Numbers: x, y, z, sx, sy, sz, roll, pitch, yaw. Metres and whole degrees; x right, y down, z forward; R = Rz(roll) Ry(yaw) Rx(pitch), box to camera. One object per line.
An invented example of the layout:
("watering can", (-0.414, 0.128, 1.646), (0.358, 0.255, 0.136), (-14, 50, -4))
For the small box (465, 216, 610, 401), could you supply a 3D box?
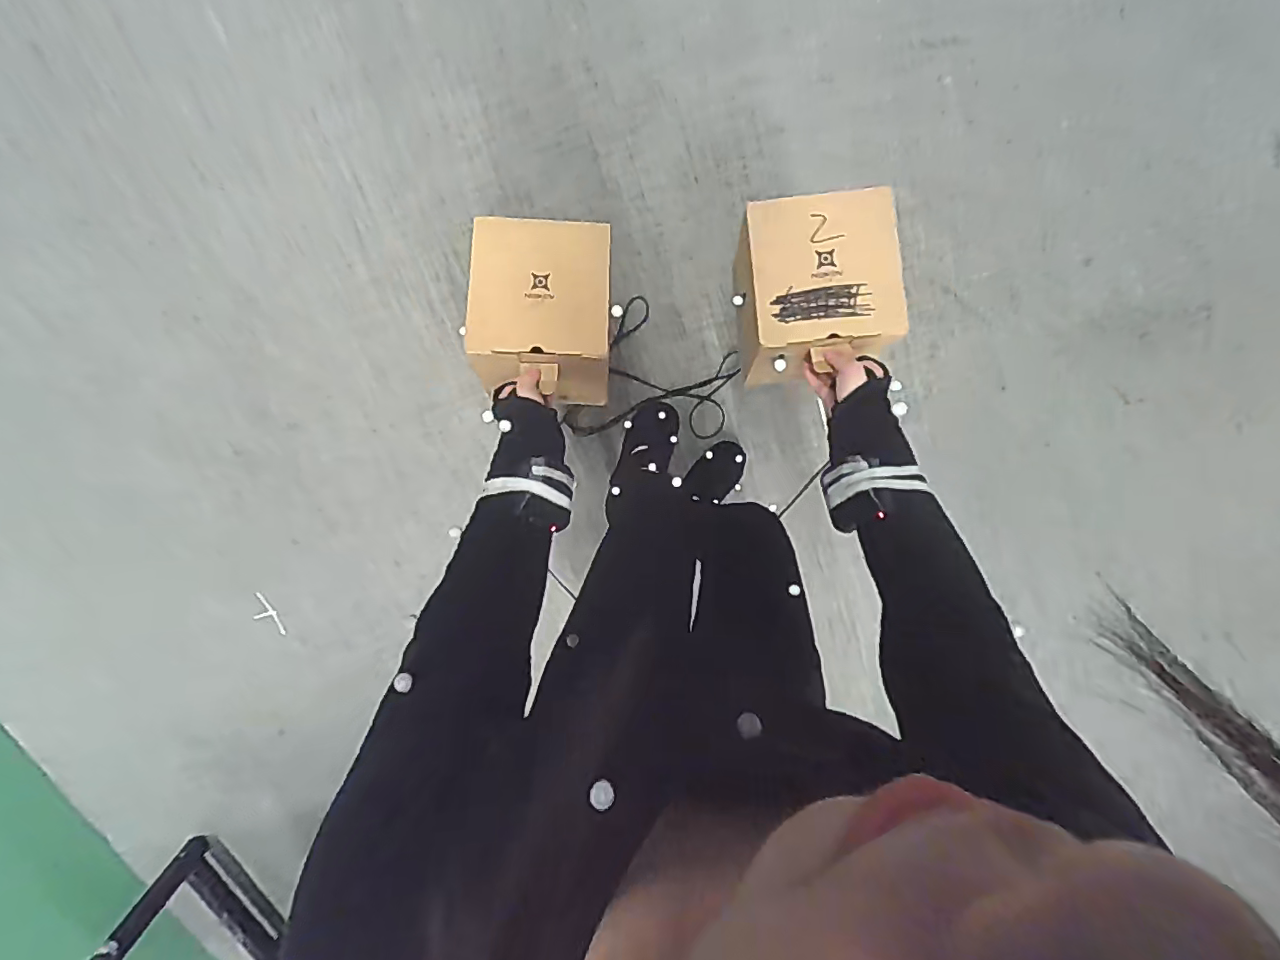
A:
("small box", (-0.129, -0.220, 0.728), (0.168, 0.176, 0.179), (2, 80, -4))
